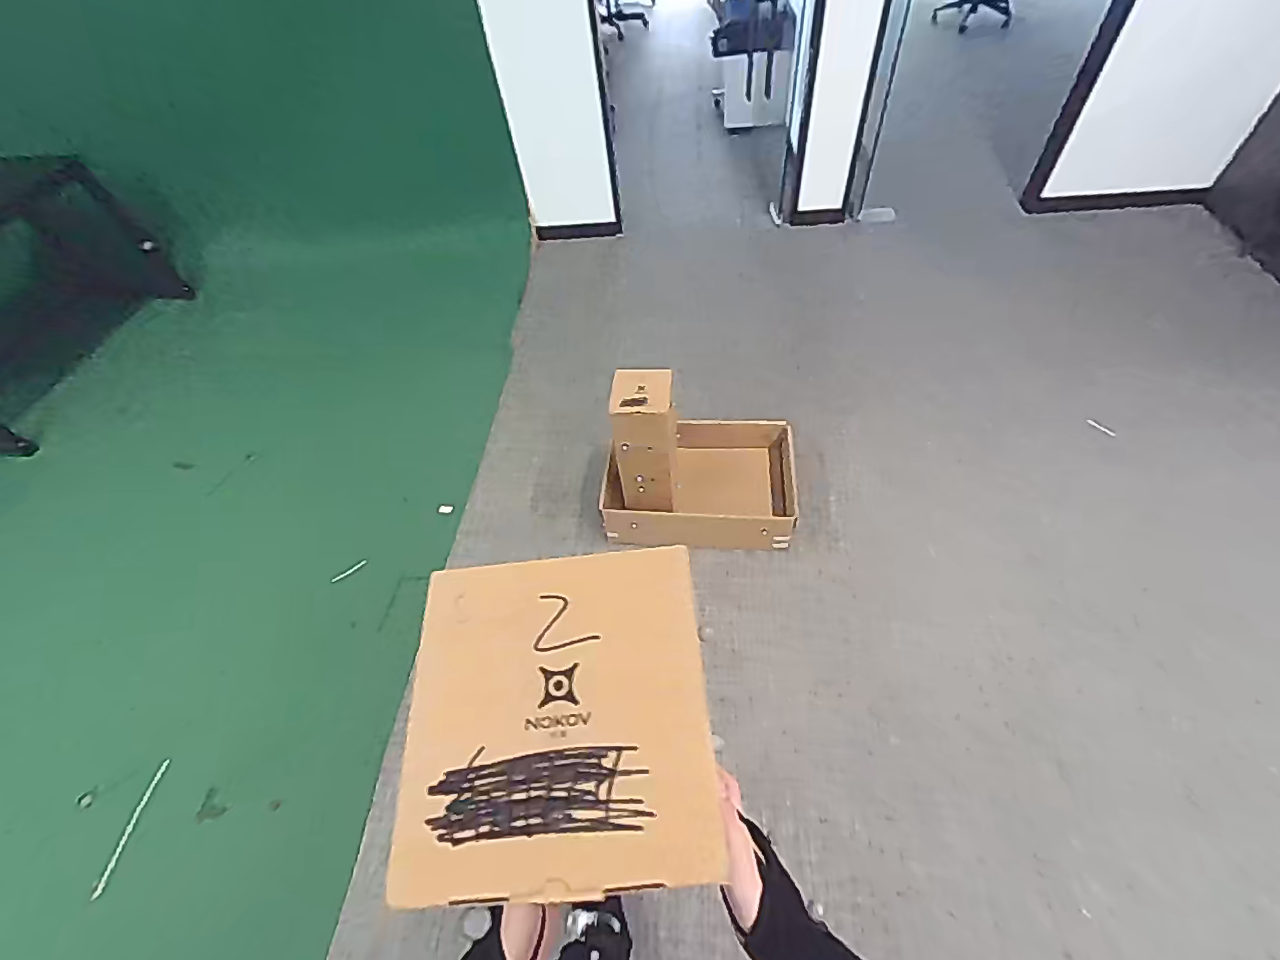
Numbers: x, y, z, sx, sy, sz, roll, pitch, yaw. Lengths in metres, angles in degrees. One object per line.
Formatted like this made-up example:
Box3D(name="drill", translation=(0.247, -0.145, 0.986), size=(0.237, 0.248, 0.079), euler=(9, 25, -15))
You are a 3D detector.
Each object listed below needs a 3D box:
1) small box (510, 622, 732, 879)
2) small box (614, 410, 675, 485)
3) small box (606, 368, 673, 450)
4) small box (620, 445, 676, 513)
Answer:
Box3D(name="small box", translation=(-0.016, 0.251, 0.504), size=(0.168, 0.176, 0.179), euler=(-8, 58, 0))
Box3D(name="small box", translation=(0.019, -0.105, 1.686), size=(0.168, 0.176, 0.179), euler=(3, 54, 8))
Box3D(name="small box", translation=(0.005, -0.200, 1.554), size=(0.168, 0.176, 0.179), euler=(1, 53, 7))
Box3D(name="small box", translation=(0.032, -0.010, 1.819), size=(0.168, 0.176, 0.179), euler=(3, 53, 8))
